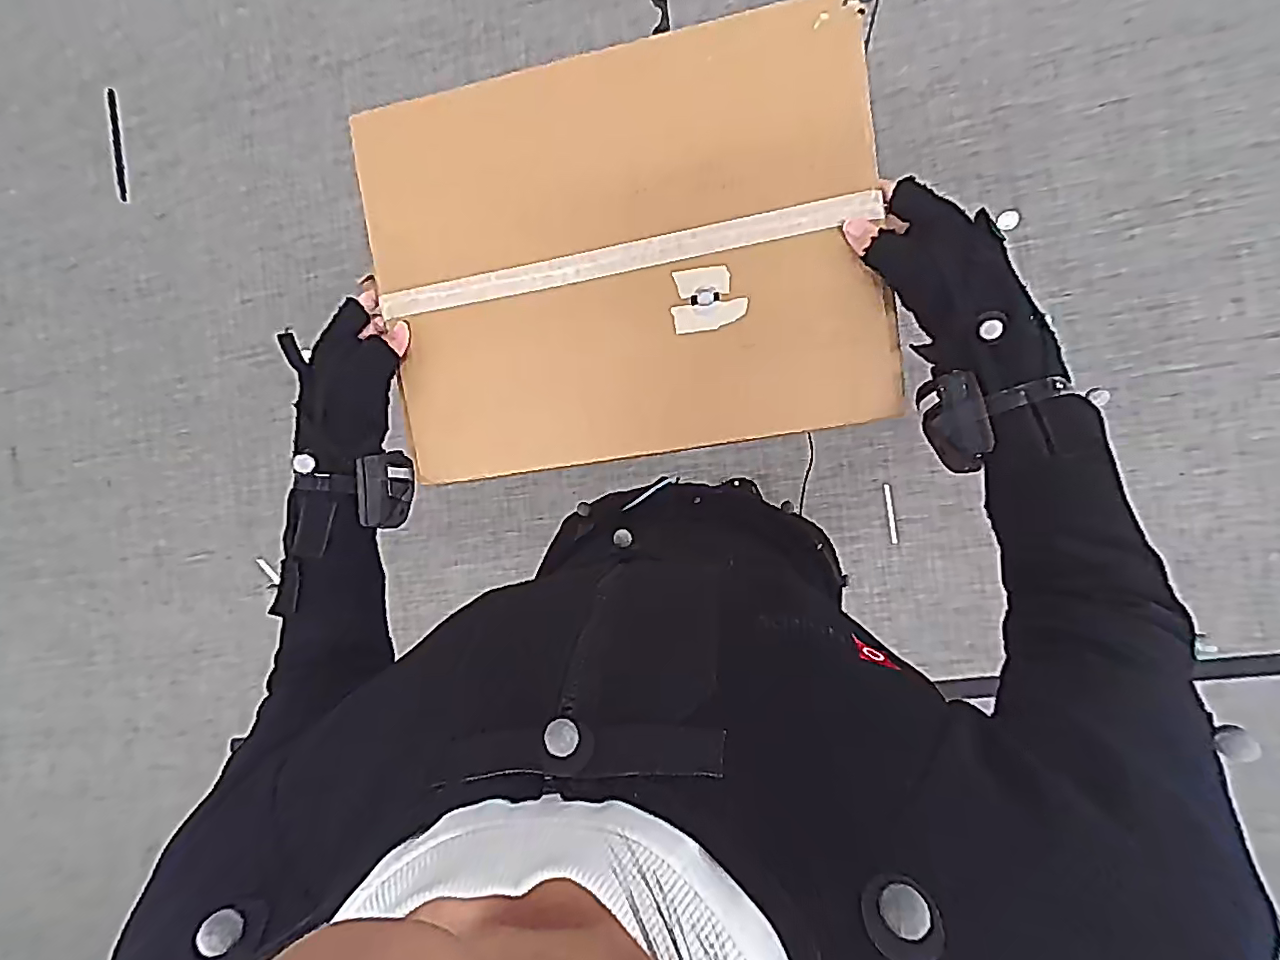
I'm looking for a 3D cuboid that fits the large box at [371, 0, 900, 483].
[{"bbox_3d":[0.005,-0.192,0.589,0.408,0.320,0.320,-9,95,8],"label":"large box"}]
